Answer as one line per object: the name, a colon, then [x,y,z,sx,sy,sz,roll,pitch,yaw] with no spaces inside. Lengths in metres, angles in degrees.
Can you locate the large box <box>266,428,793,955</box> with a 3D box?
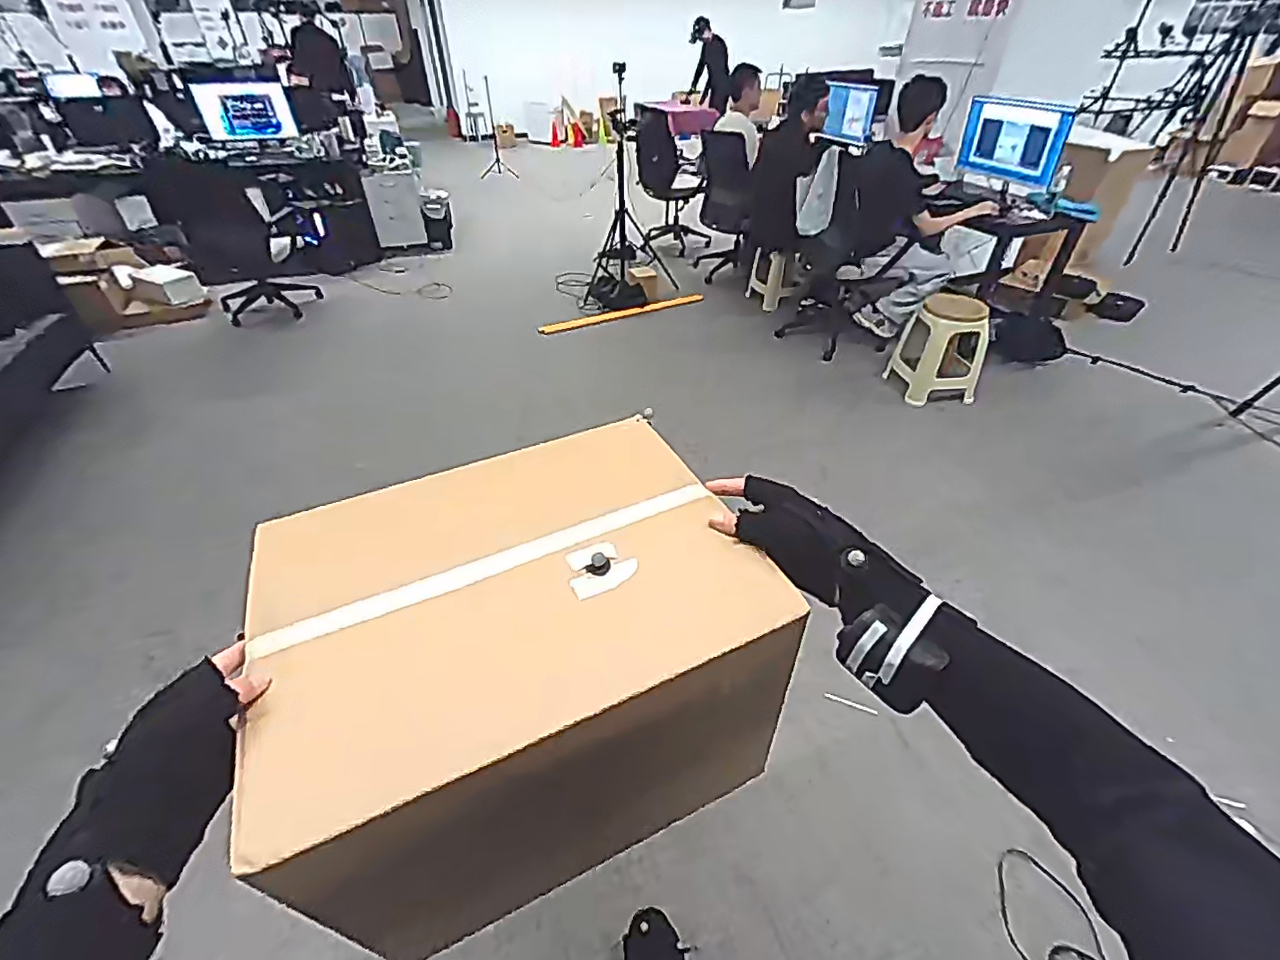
large box: [-0.110,0.193,0.583,0.408,0.320,0.320,-17,43,-19]
